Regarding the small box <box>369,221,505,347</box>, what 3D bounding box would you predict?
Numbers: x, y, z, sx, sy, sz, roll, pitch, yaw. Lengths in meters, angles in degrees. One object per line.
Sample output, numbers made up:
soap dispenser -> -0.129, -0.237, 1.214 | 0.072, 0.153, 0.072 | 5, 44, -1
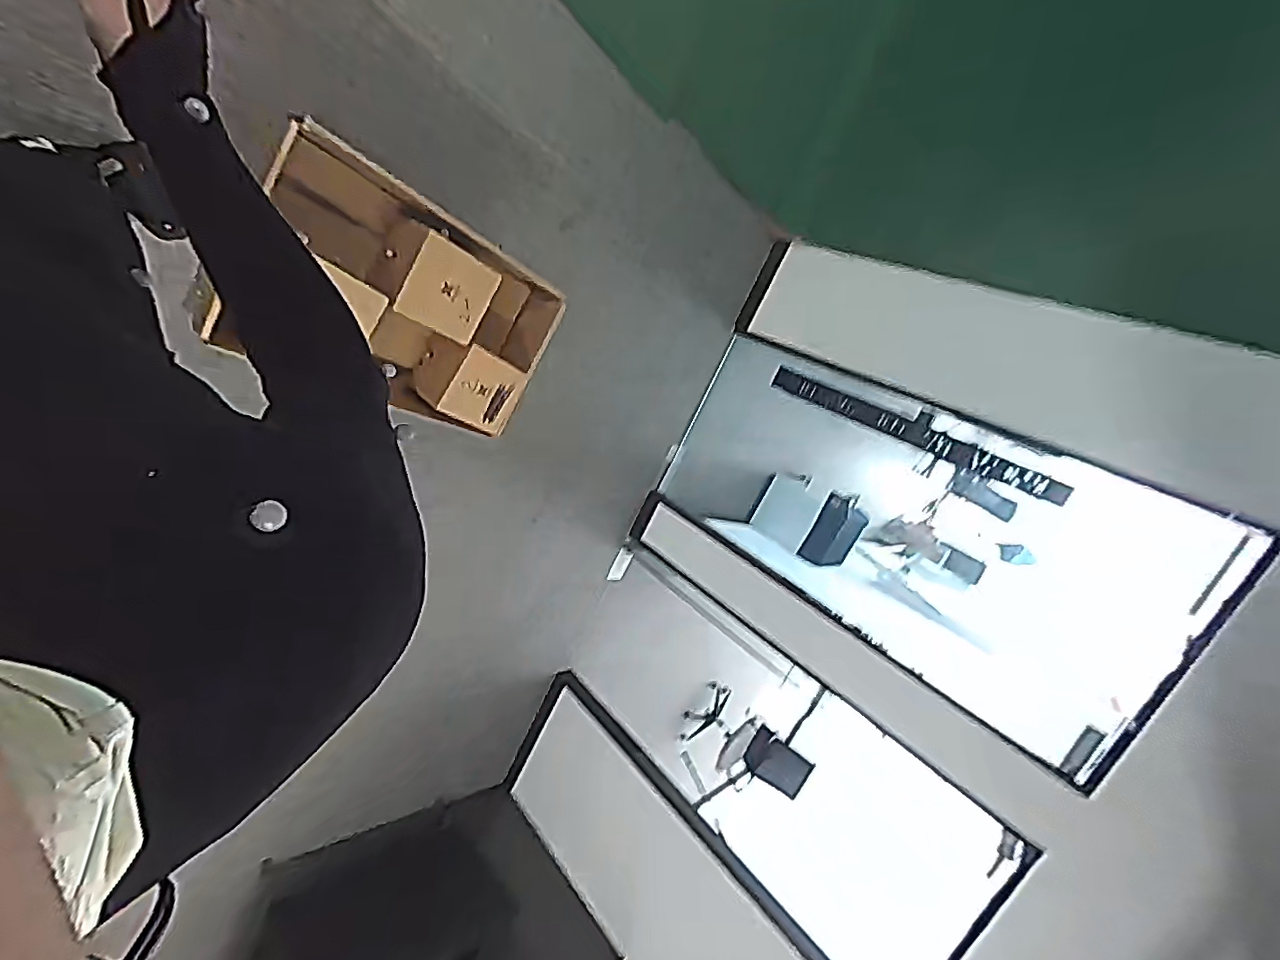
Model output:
small box -> -0.421, -0.405, 1.109 | 0.179, 0.176, 0.168 | 21, 102, -53
